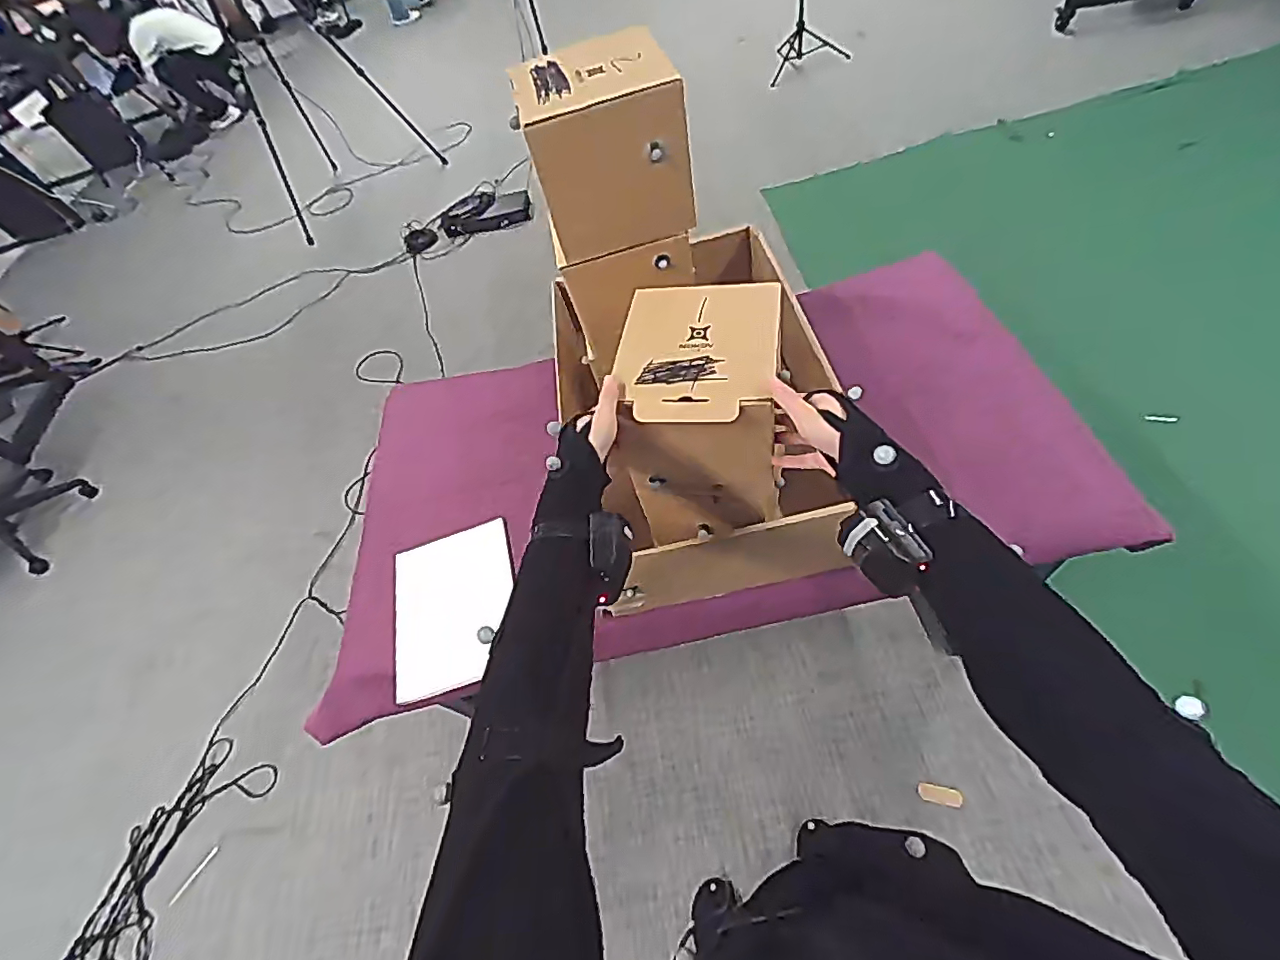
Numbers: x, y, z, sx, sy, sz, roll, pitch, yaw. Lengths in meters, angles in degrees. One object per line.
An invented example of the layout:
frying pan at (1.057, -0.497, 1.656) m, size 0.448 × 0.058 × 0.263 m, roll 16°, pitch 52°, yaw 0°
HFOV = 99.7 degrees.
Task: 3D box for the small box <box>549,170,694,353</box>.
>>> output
small box at (-0.020, -0.314, 0.801) m, size 0.179 × 0.176 × 0.168 m, roll -15°, pitch 56°, yaw 3°

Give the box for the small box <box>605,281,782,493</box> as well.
small box at (0.074, -0.100, 0.619) m, size 0.168 × 0.176 × 0.179 m, roll 3°, pitch 56°, yaw 15°

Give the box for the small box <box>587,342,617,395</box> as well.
small box at (0.006, -0.229, 0.936) m, size 0.168 × 0.176 × 0.179 m, roll -13°, pitch 56°, yaw 5°
